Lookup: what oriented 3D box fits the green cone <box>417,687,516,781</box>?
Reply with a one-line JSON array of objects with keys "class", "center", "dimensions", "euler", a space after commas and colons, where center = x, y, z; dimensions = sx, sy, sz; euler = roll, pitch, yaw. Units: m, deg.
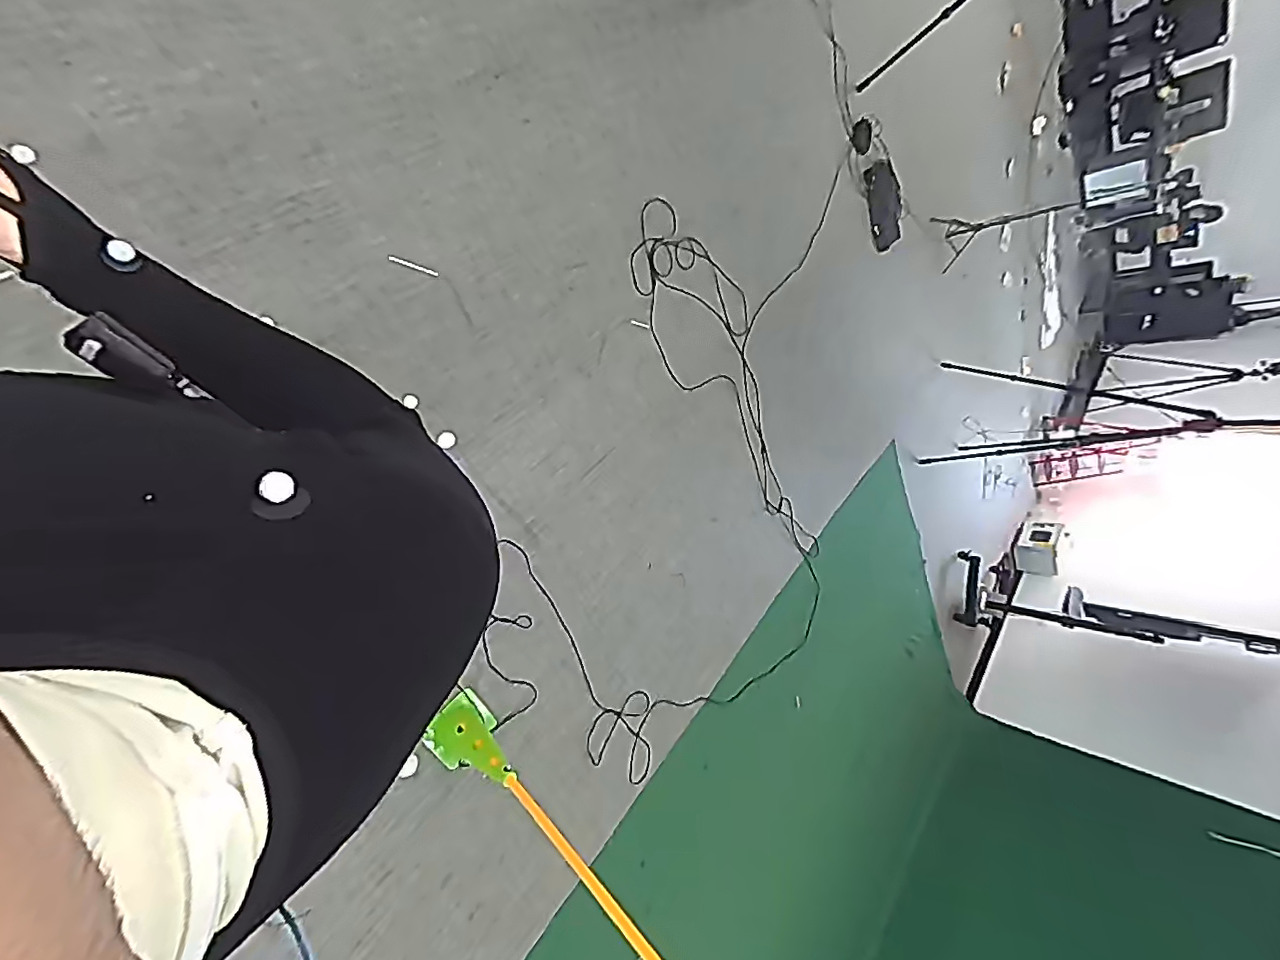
[{"class": "green cone", "center": [-0.493, 0.826, 1.660], "dimensions": [0.202, 0.368, 0.200], "euler": [-44, 122, -31]}]
